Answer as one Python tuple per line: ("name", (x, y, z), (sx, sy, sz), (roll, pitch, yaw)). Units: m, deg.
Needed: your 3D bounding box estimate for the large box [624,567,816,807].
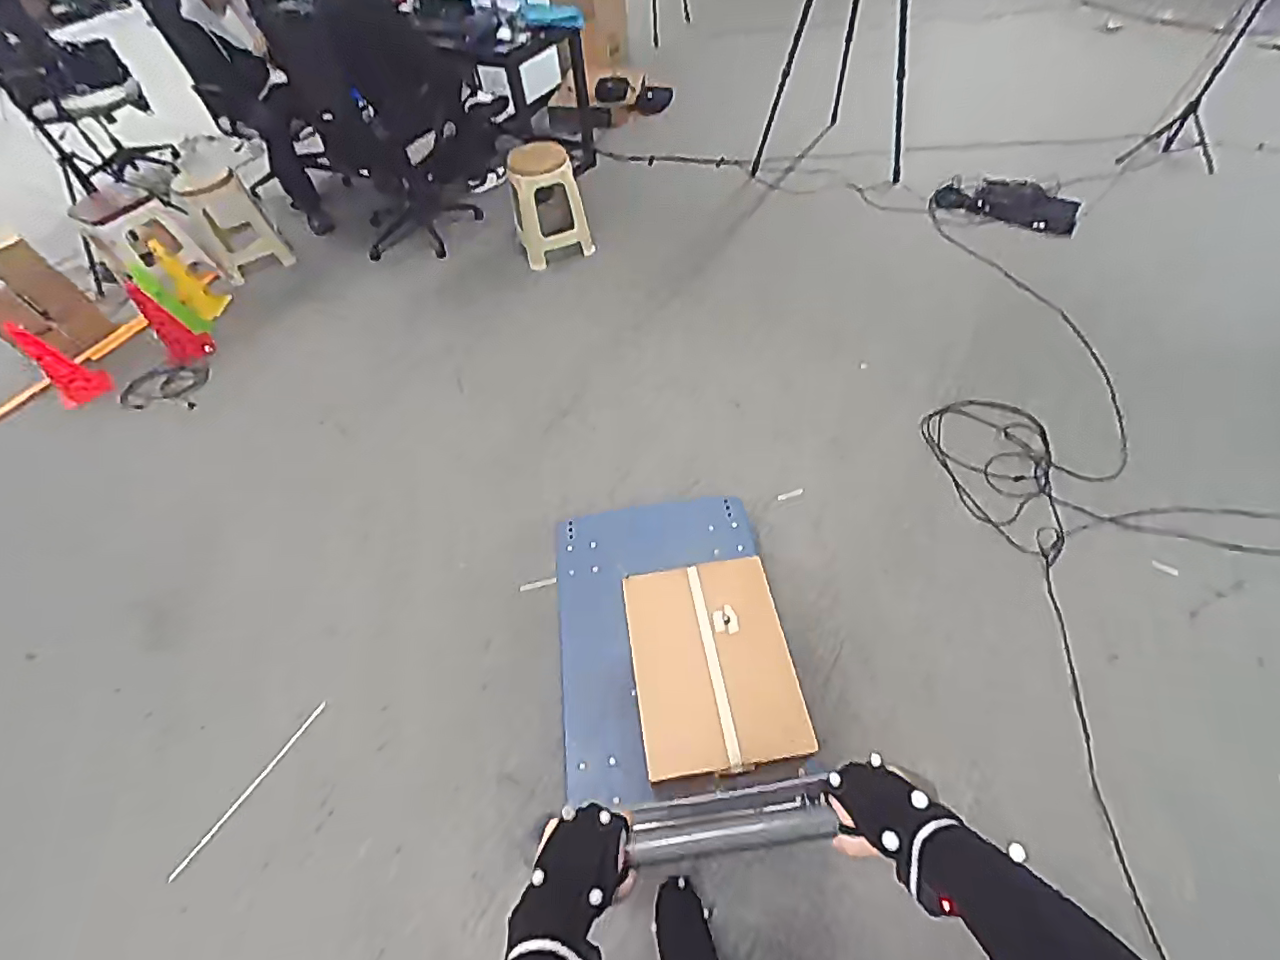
("large box", (0.156, 0.466, 1.219), (0.320, 0.320, 0.408), (-8, 52, -2))
